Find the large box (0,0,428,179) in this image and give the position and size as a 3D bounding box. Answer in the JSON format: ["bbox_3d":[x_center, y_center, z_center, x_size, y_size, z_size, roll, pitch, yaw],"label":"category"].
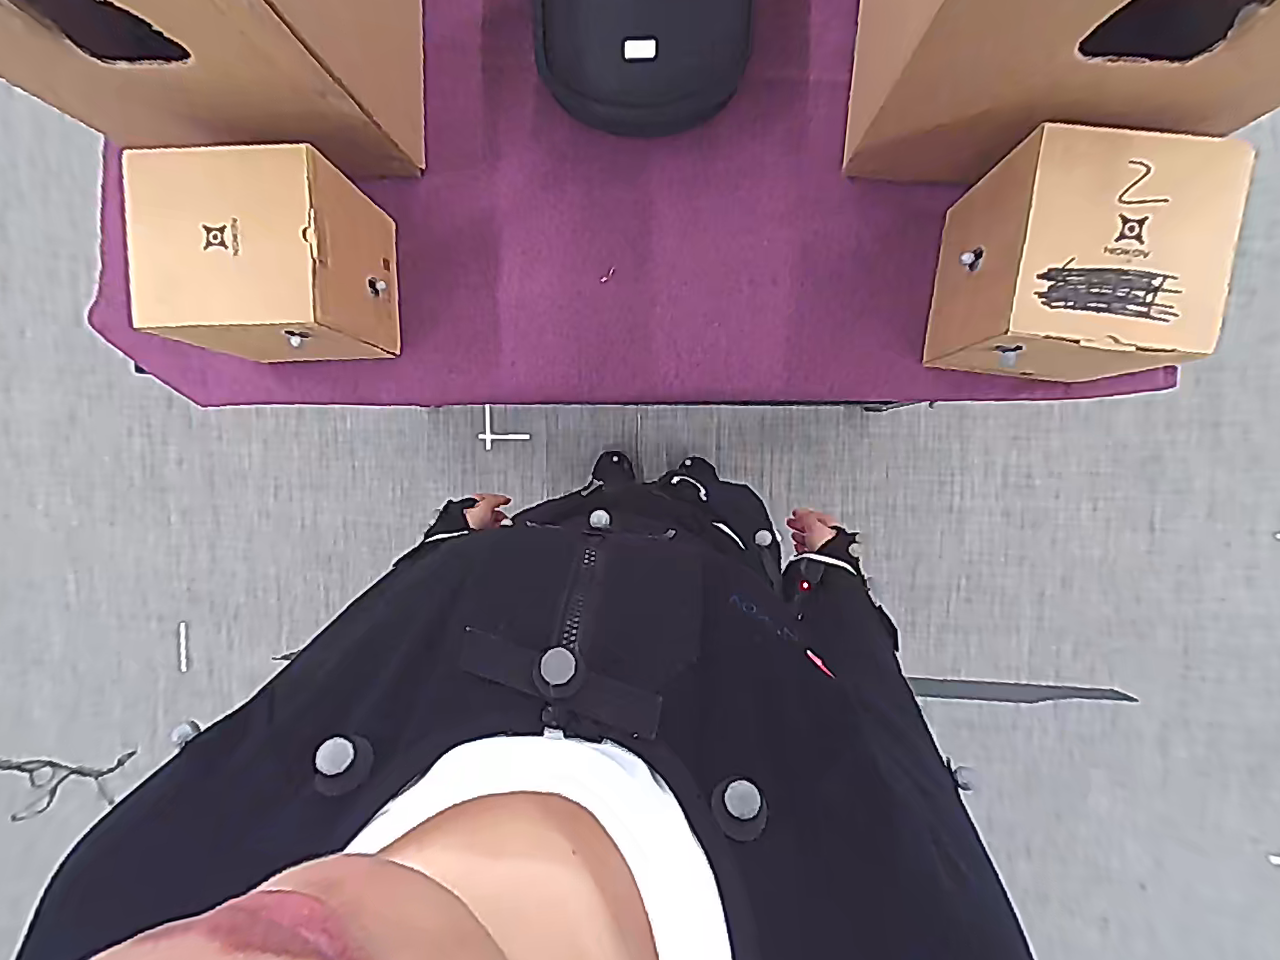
[{"bbox_3d":[-0.415,-0.557,0.503,0.320,0.320,0.408,0,96,3],"label":"large box"}]
